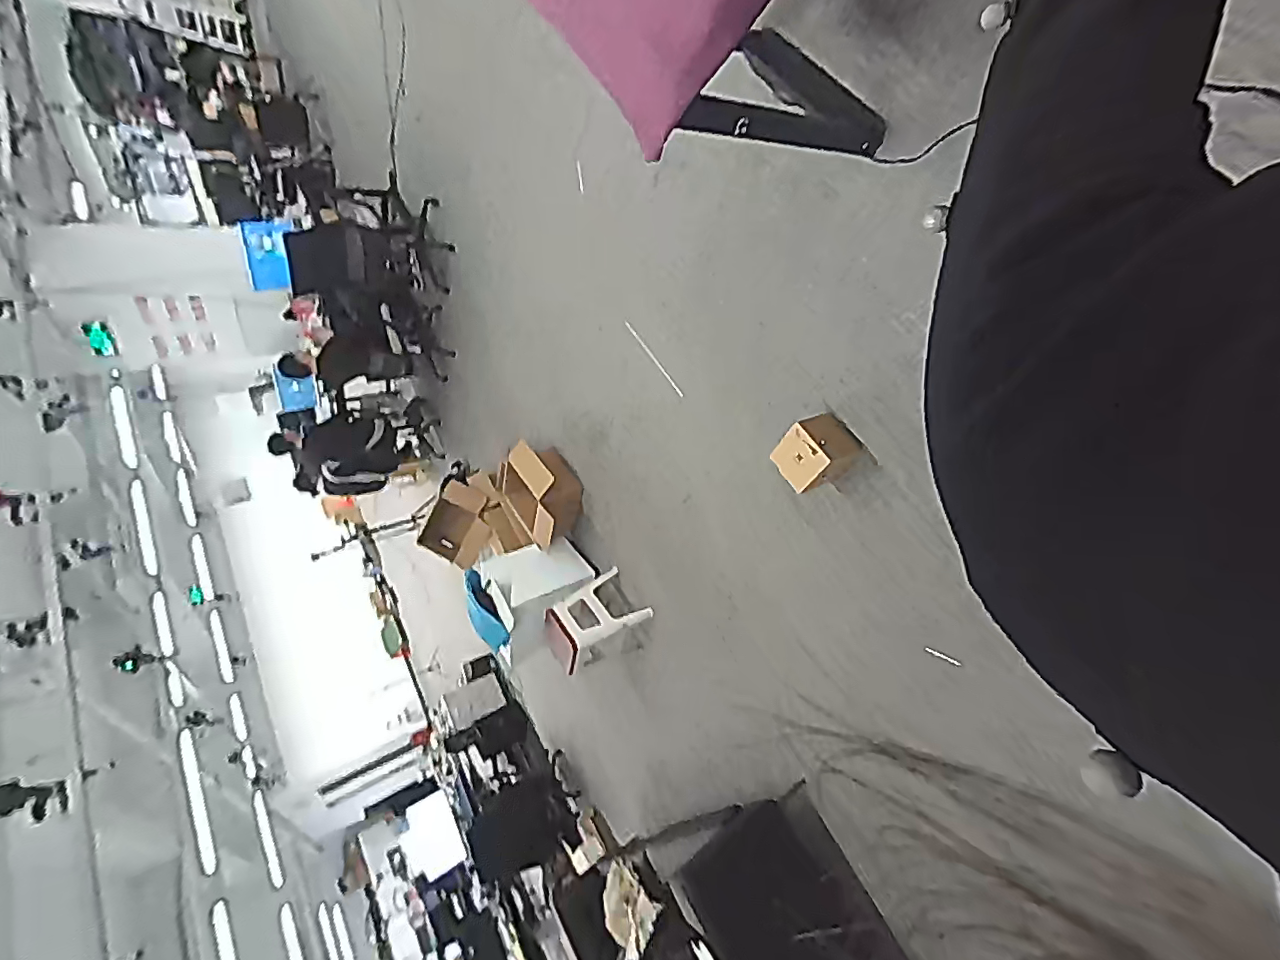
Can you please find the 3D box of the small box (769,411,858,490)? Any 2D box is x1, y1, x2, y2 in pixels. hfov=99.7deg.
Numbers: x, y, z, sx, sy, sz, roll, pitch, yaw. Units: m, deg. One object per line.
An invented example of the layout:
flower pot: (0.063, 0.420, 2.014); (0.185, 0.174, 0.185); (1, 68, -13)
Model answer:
small box: (0.554, -0.096, 1.725); (0.168, 0.176, 0.179); (57, 144, 22)
